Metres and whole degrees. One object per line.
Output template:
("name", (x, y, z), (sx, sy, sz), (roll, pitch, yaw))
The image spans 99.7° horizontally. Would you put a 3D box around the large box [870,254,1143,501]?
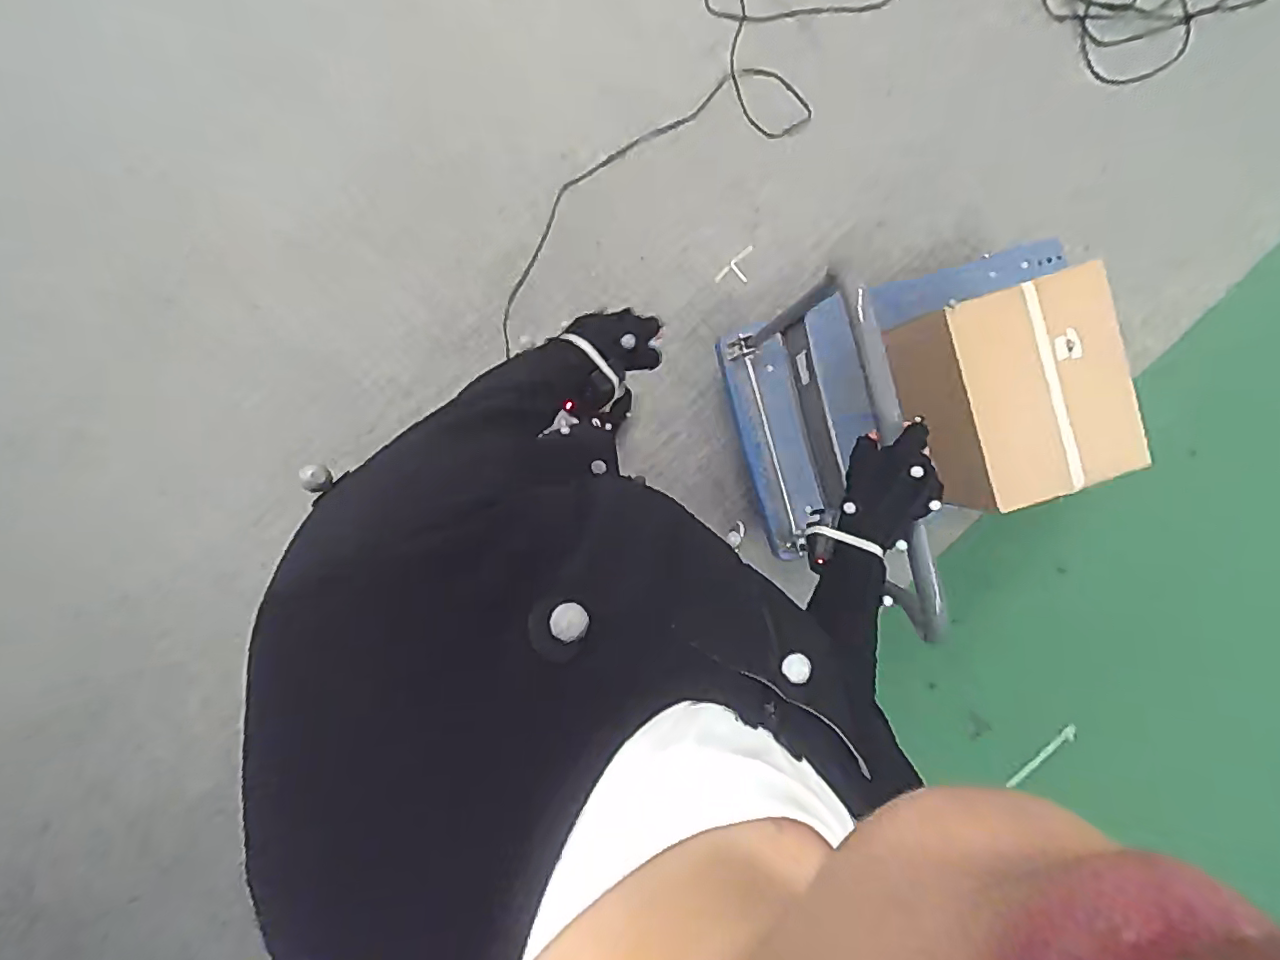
("large box", (0.756, -0.199, 1.169), (0.320, 0.320, 0.408), (-17, 94, -2))
